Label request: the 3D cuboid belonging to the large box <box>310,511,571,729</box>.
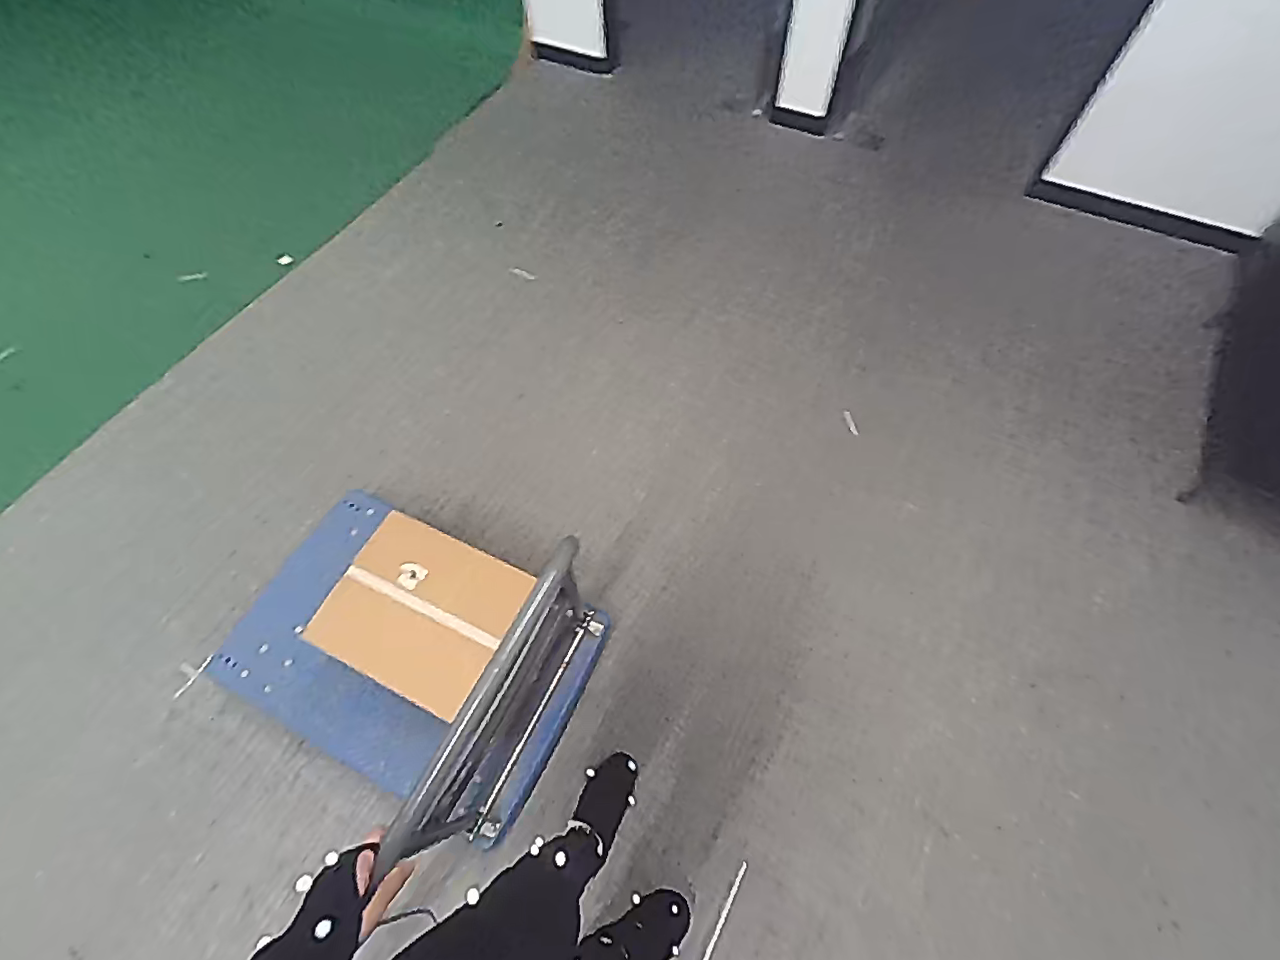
[{"bbox_3d":[-0.420,0.329,1.240,0.408,0.320,0.320,23,65,13],"label":"large box"}]
